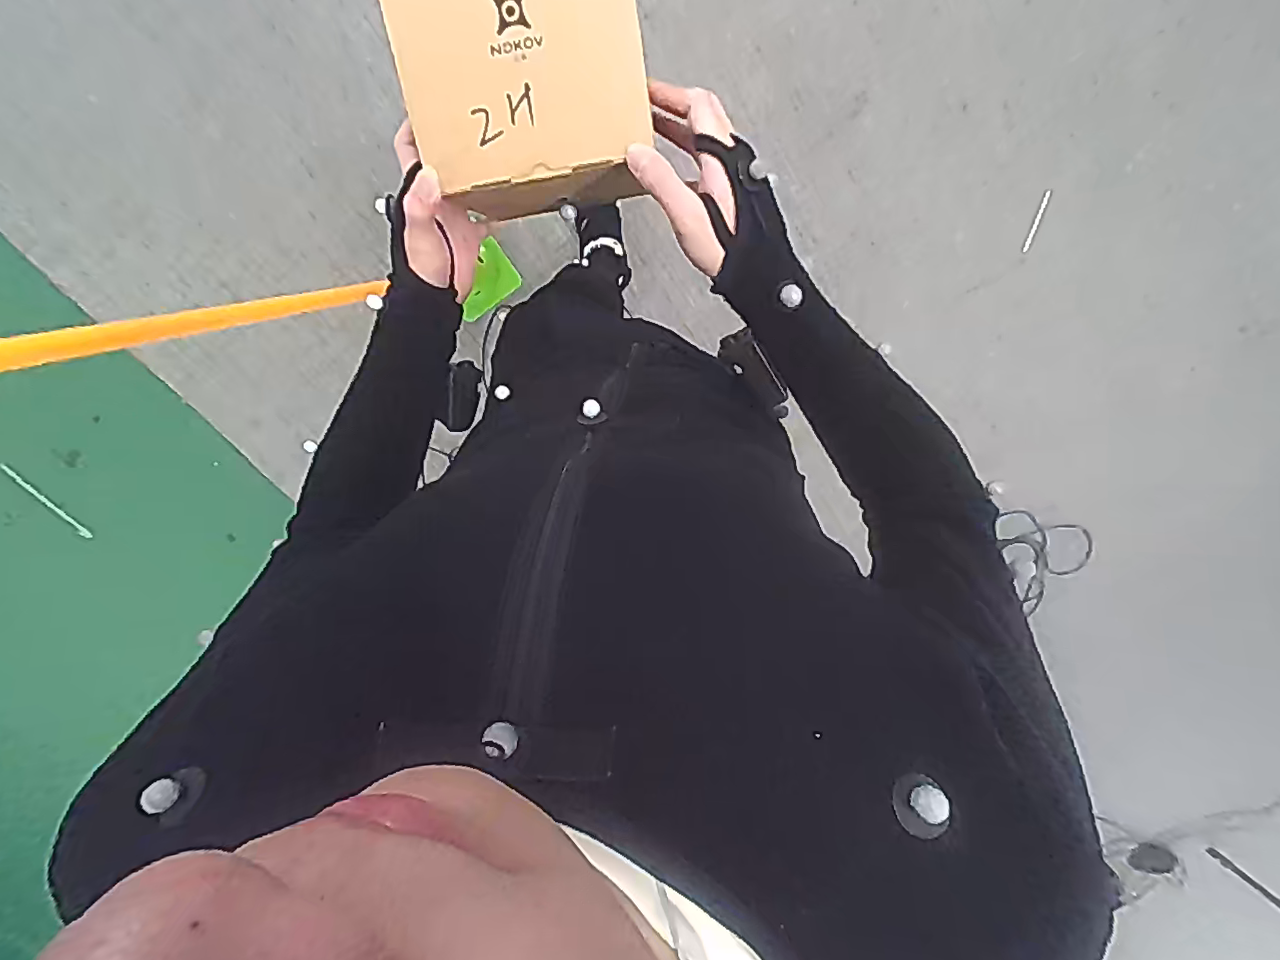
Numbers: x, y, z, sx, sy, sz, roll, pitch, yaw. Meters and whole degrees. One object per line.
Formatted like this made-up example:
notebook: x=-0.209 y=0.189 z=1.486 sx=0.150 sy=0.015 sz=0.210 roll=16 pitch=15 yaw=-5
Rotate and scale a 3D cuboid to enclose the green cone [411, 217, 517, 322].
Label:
green cone: x=-0.450 y=-0.470 z=1.248 sx=0.200 sy=0.368 sz=0.202 roll=-31 pitch=112 yaw=14
